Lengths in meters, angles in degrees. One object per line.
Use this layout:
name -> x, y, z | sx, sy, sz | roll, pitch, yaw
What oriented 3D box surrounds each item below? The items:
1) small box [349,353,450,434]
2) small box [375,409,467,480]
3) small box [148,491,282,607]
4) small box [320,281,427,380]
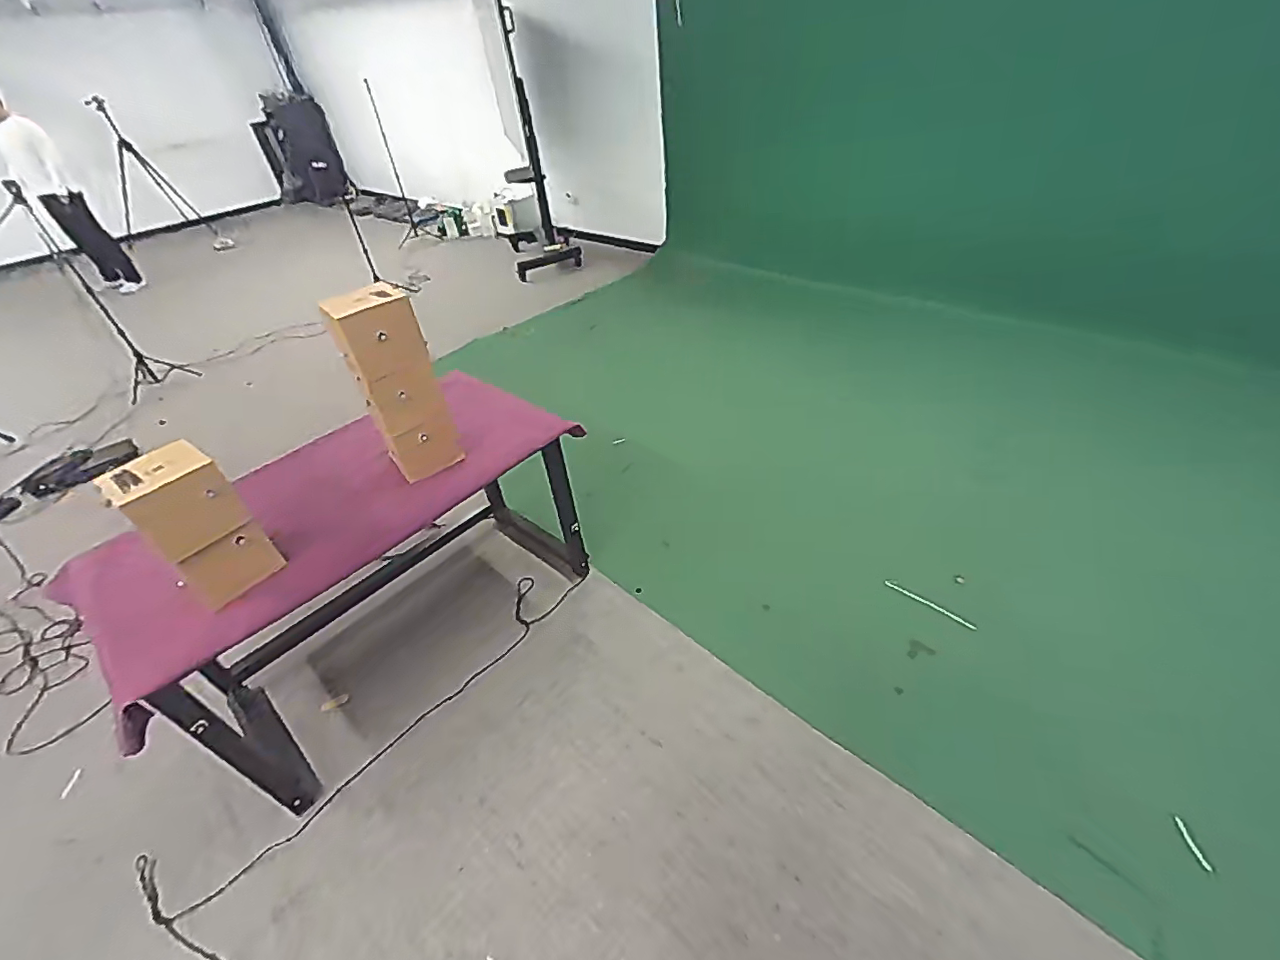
small box -> -0.647, -0.251, 1.468 | 0.179, 0.176, 0.168 | -32, 47, -26
small box -> -0.633, -0.127, 1.572 | 0.179, 0.176, 0.168 | -29, 45, -25
small box -> -0.987, 0.162, 1.274 | 0.168, 0.176, 0.179 | 23, 48, 31
small box -> -0.662, -0.378, 1.364 | 0.179, 0.176, 0.168 | -33, 46, -27
